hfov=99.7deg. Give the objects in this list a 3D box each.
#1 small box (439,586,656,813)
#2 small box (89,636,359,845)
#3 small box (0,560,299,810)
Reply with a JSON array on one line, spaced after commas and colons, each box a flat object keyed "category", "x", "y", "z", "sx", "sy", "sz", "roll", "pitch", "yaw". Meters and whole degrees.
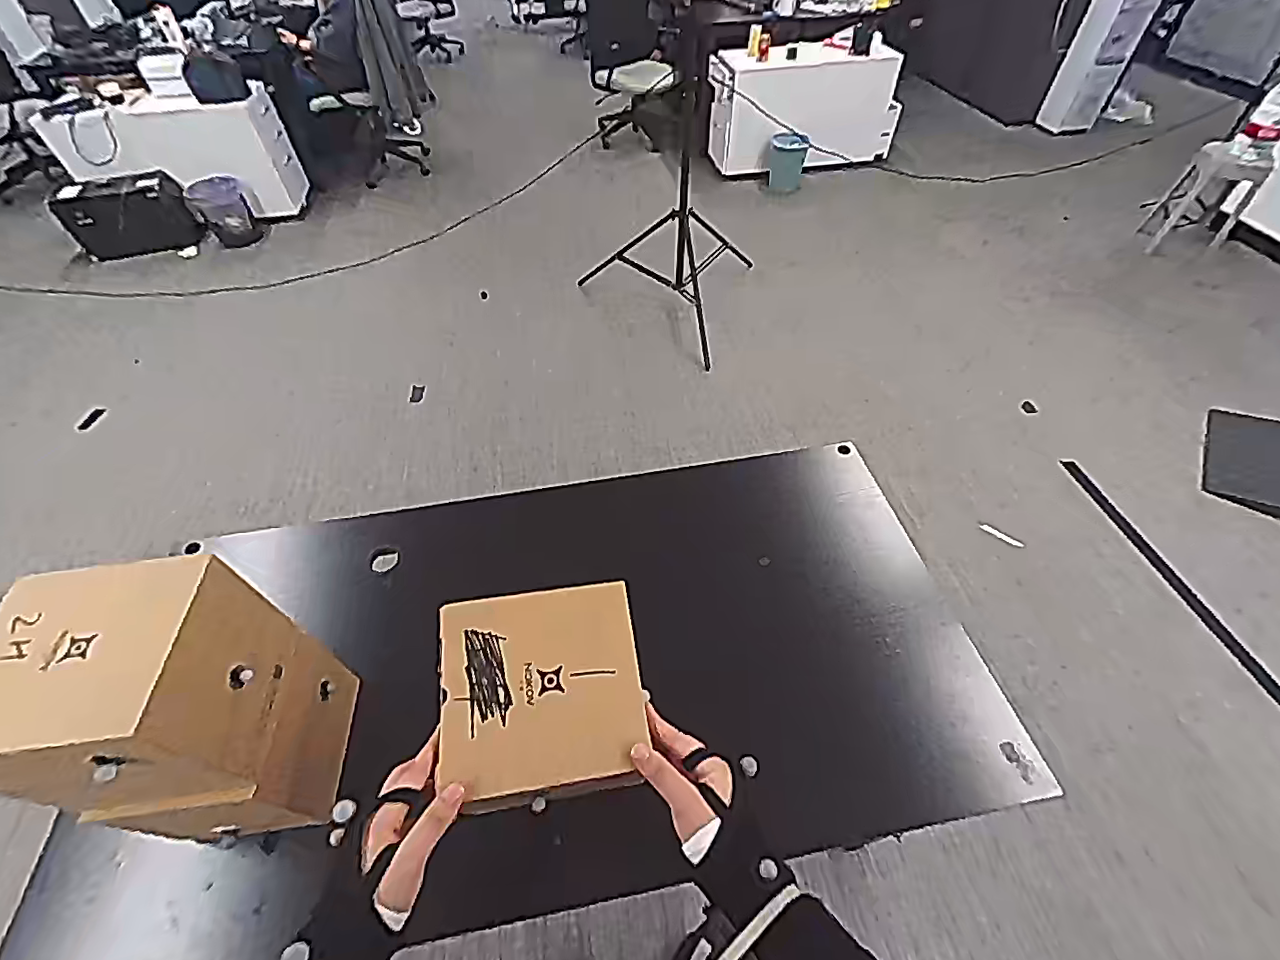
[{"category": "small box", "x": -0.087, "y": 0.222, "z": 0.538, "sx": 0.179, "sy": 0.176, "sz": 0.168, "roll": -6, "pitch": 58, "yaw": -8}, {"category": "small box", "x": -0.457, "y": 0.308, "z": 0.637, "sx": 0.168, "sy": 0.176, "sz": 0.179, "roll": -7, "pitch": 51, "yaw": -3}, {"category": "small box", "x": -0.467, "y": 0.198, "z": 0.514, "sx": 0.179, "sy": 0.176, "sz": 0.168, "roll": -7, "pitch": 50, "yaw": -3}]
